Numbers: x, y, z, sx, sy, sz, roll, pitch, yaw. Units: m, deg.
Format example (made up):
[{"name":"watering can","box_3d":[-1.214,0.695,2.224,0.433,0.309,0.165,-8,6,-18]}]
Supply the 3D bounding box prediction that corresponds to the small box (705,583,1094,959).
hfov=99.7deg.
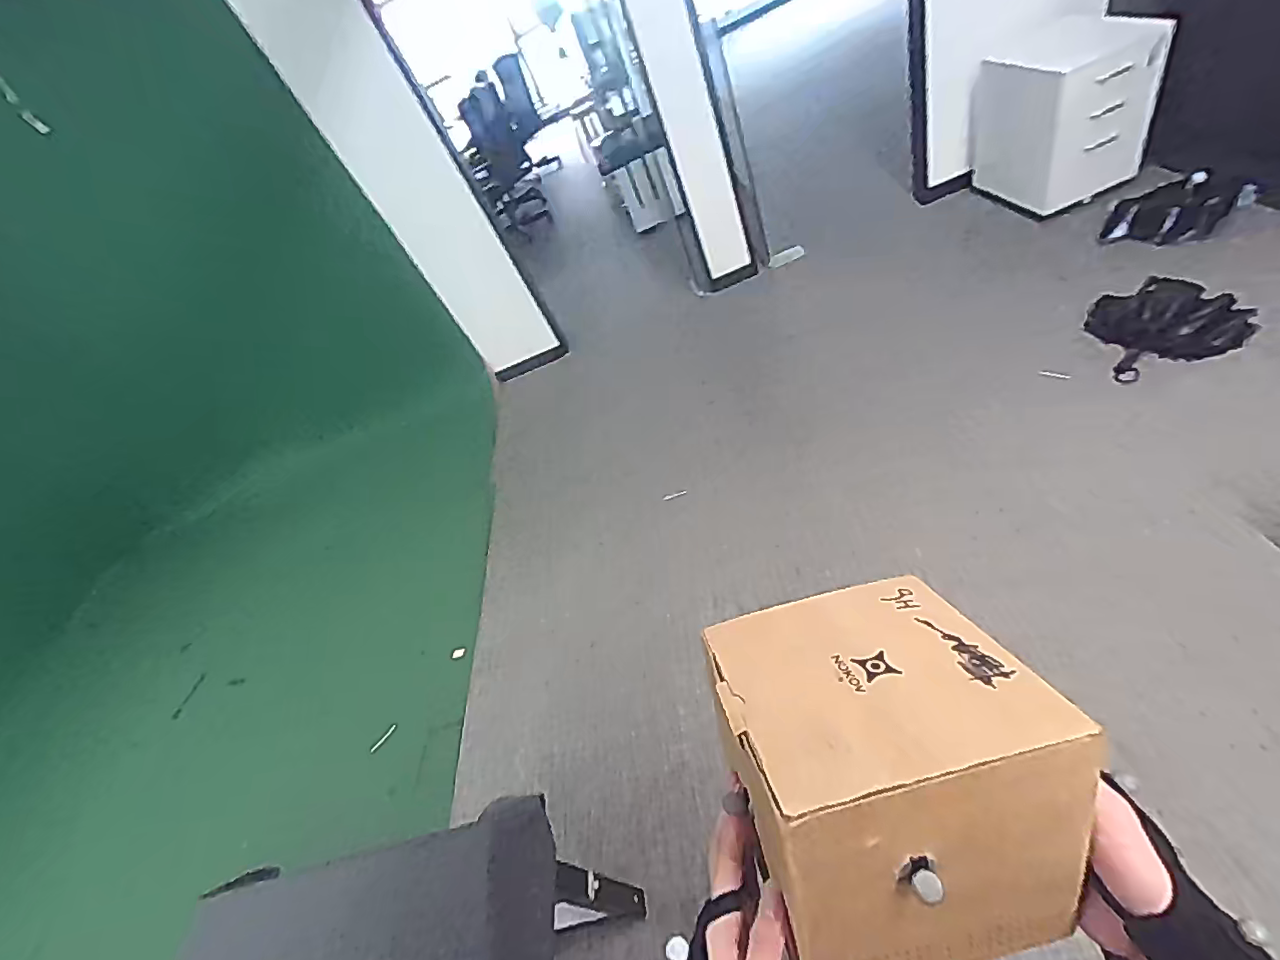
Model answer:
[{"name":"small box","box_3d":[0.158,0.200,0.373,0.179,0.176,0.168,-12,21,-4]}]
